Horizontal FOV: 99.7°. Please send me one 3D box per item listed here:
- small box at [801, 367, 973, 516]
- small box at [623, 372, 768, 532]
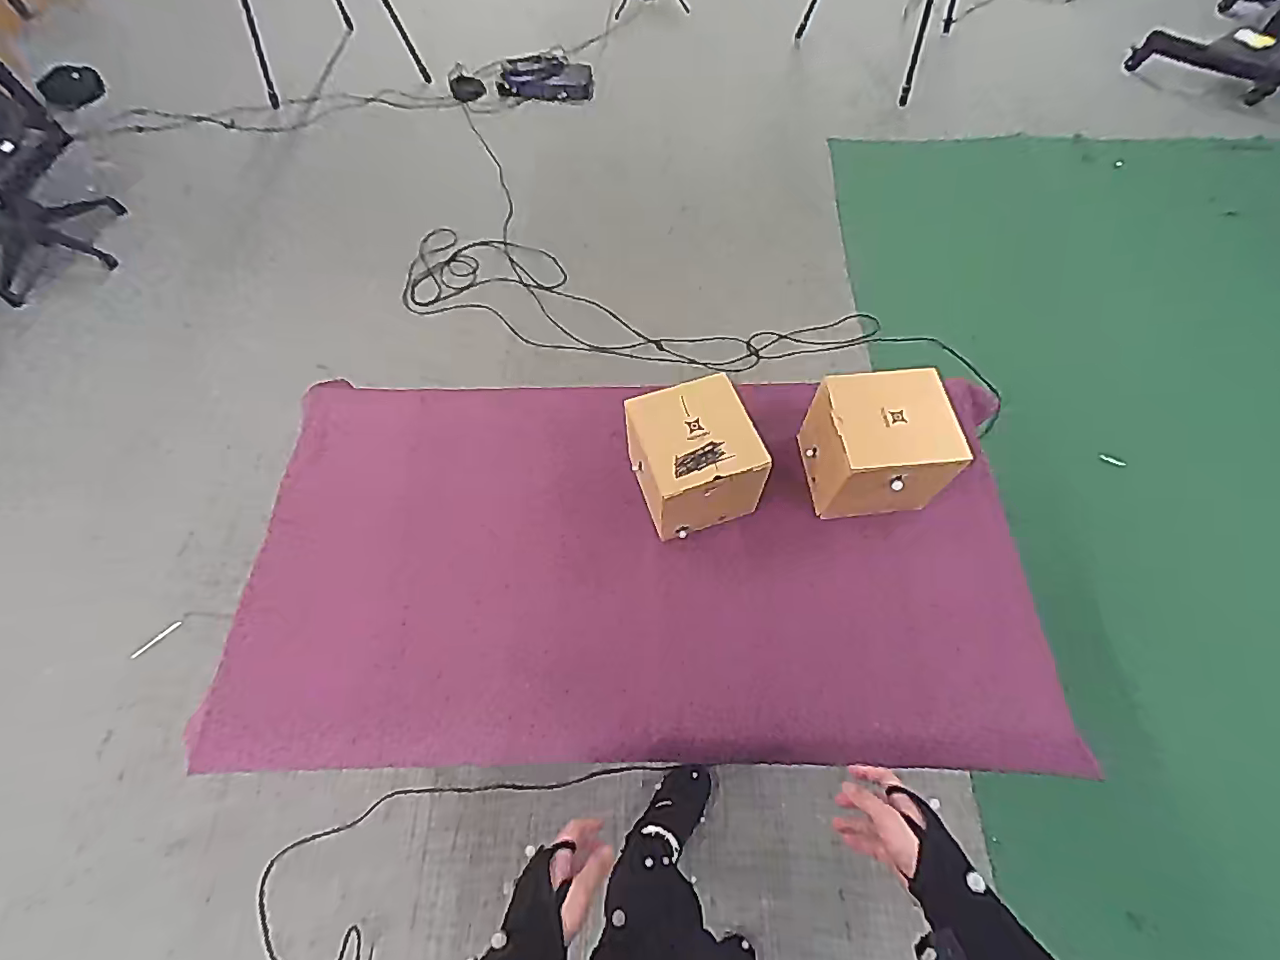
[{"bbox_3d":[0.370,-0.054,0.847,0.179,0.176,0.168,-6,63,1],"label":"small box"},{"bbox_3d":[0.080,-0.033,0.845,0.168,0.176,0.179,-17,63,-7],"label":"small box"}]
